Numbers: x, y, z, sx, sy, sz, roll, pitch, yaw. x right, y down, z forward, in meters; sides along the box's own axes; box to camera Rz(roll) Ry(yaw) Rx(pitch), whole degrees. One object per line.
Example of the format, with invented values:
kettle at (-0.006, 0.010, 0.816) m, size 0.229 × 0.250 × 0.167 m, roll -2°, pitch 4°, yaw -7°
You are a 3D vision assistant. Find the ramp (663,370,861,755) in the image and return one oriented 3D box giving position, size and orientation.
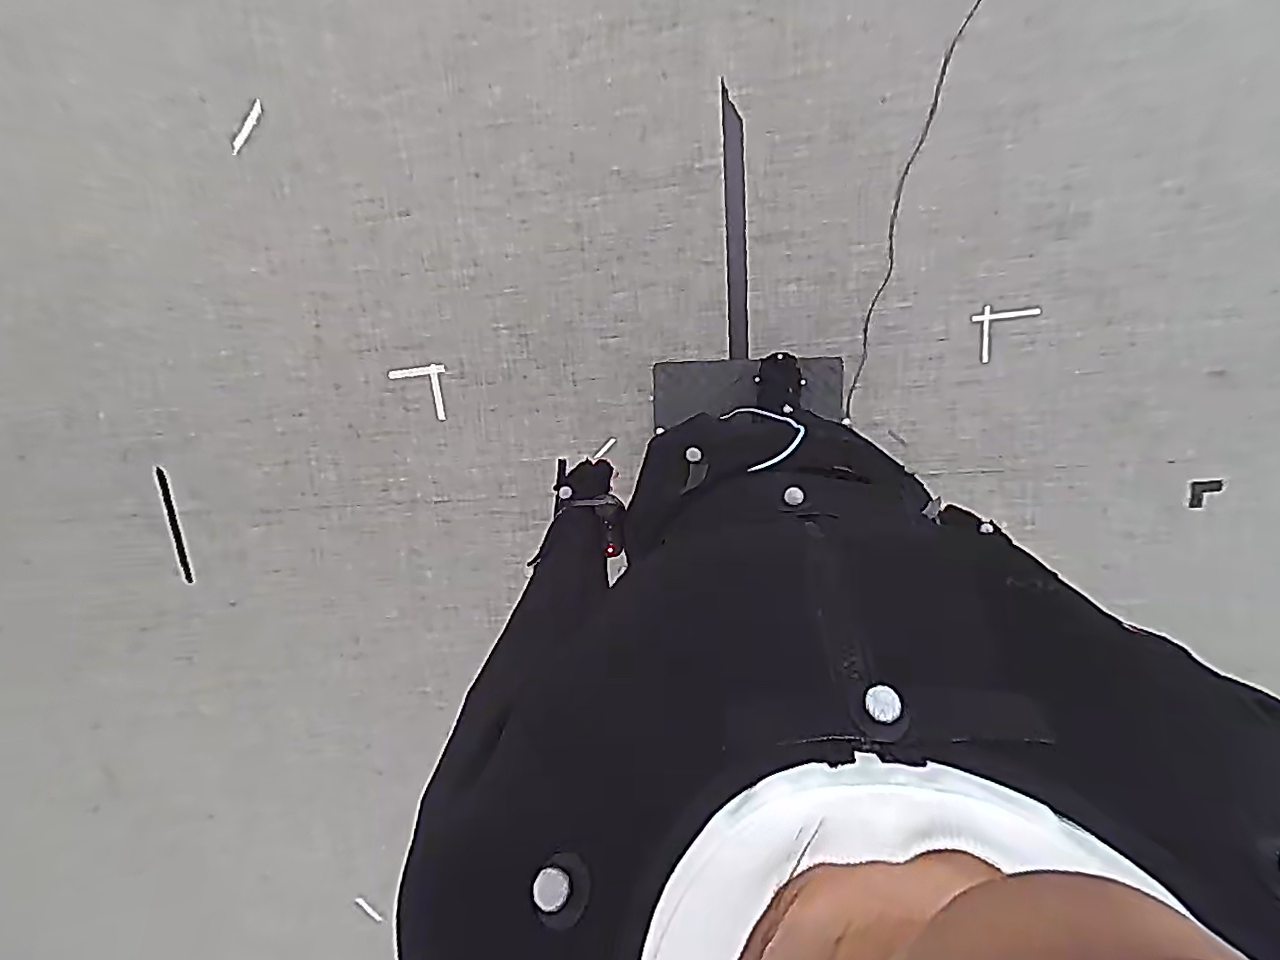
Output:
ramp at (0.313, 0.217, 1.436) m, size 0.509 × 0.206 × 0.991 m, roll -3°, pitch 99°, yaw 10°
